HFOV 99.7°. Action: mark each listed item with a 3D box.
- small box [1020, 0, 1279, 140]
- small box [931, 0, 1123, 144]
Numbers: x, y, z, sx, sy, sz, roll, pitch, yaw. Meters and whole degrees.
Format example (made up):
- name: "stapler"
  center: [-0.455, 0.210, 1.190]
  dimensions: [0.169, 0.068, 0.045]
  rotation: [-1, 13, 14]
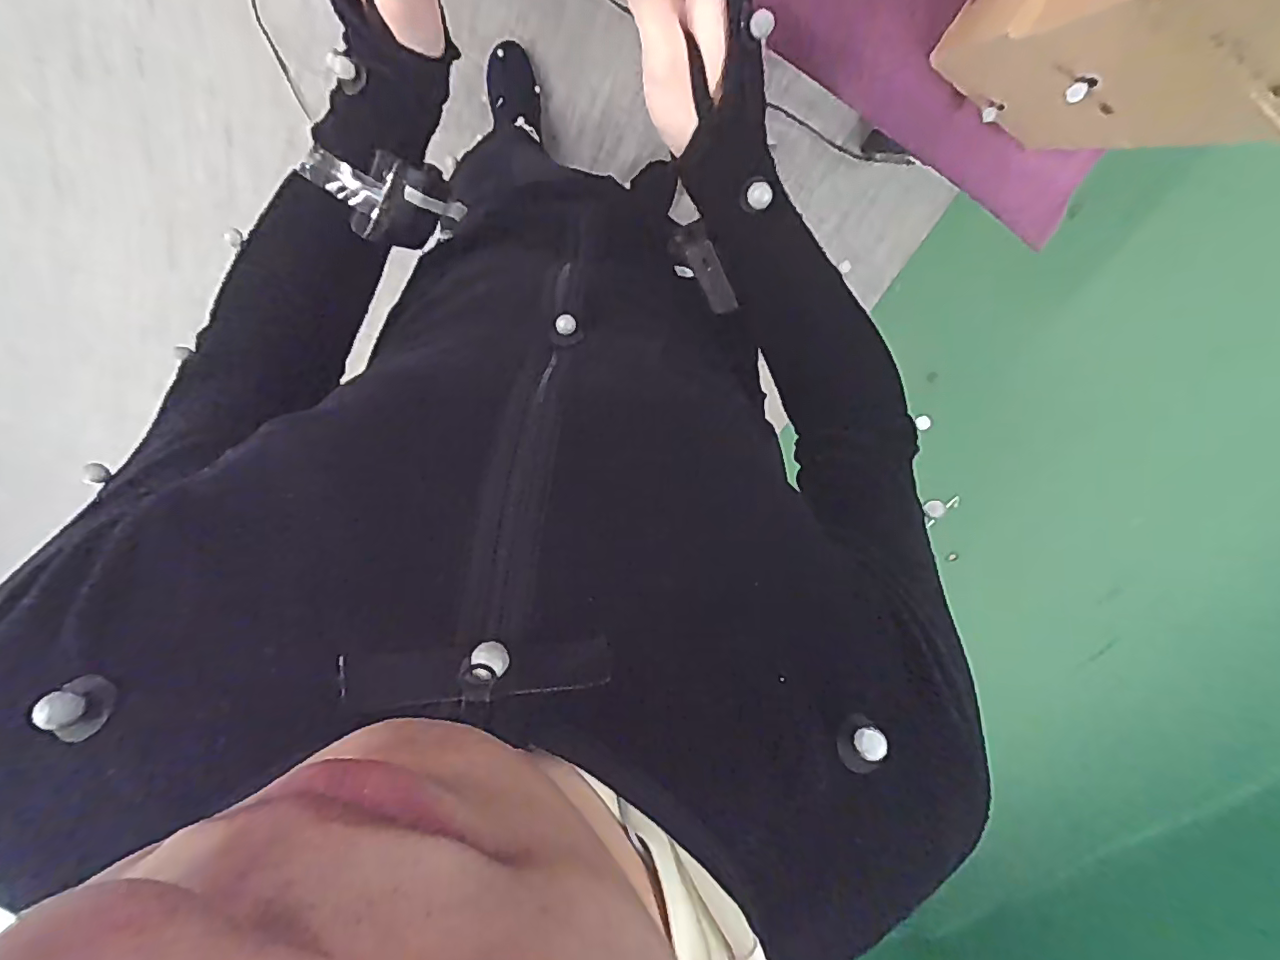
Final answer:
- name: "small box"
  center: [0.442, -0.386, 0.399]
  dimensions: [0.168, 0.176, 0.179]
  rotation: [28, 118, -13]
- name: "small box"
  center: [0.441, -0.469, 0.540]
  dimensions: [0.179, 0.176, 0.168]
  rotation: [28, 117, -14]
